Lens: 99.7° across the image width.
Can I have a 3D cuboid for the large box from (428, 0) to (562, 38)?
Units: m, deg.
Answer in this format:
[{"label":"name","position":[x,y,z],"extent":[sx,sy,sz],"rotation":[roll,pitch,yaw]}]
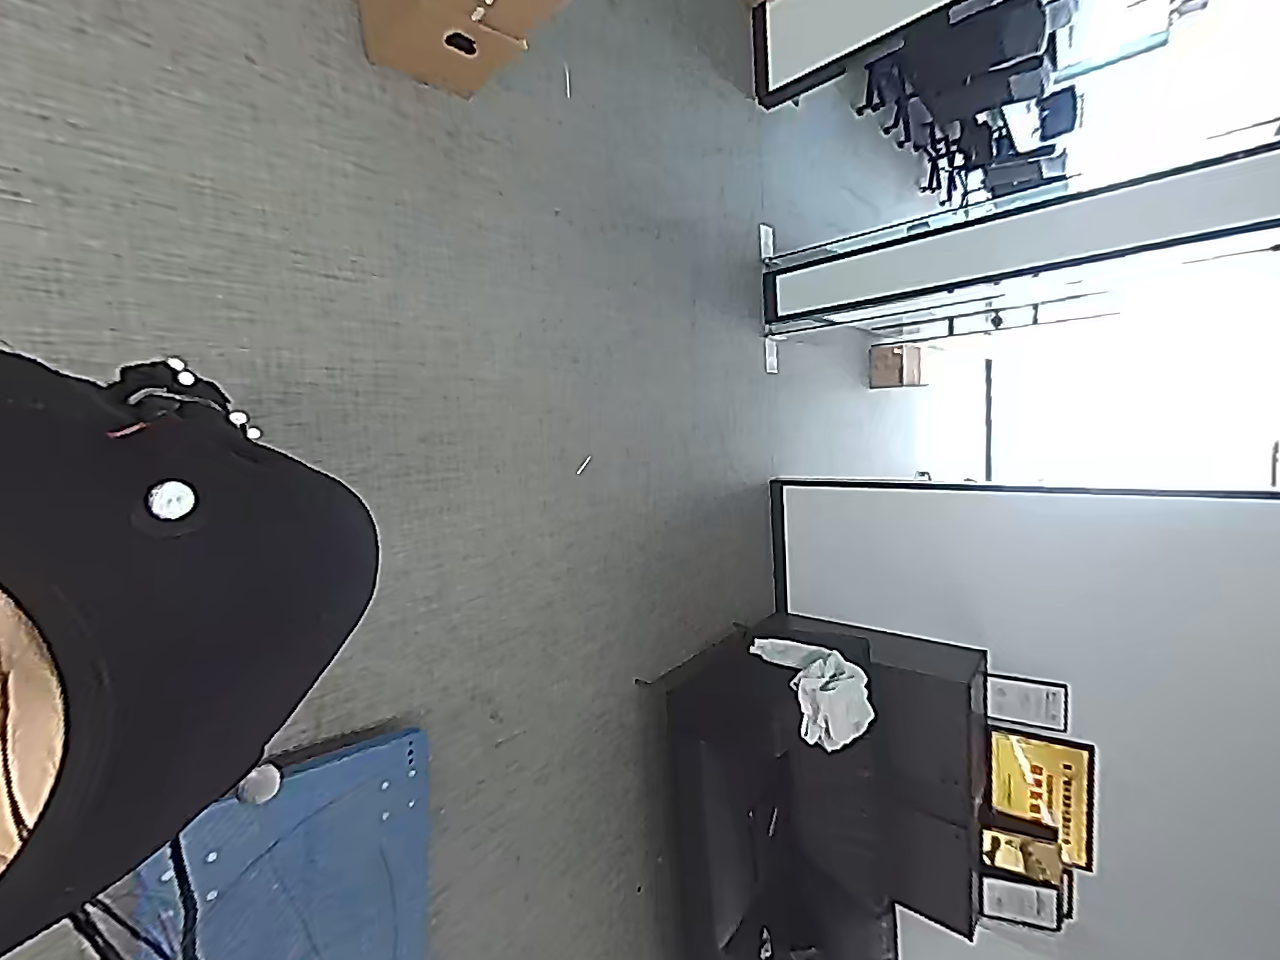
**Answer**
[{"label":"large box","position":[-0.342,-1.345,1.221],"extent":[0.320,0.320,0.408],"rotation":[-16,102,-46]}]
